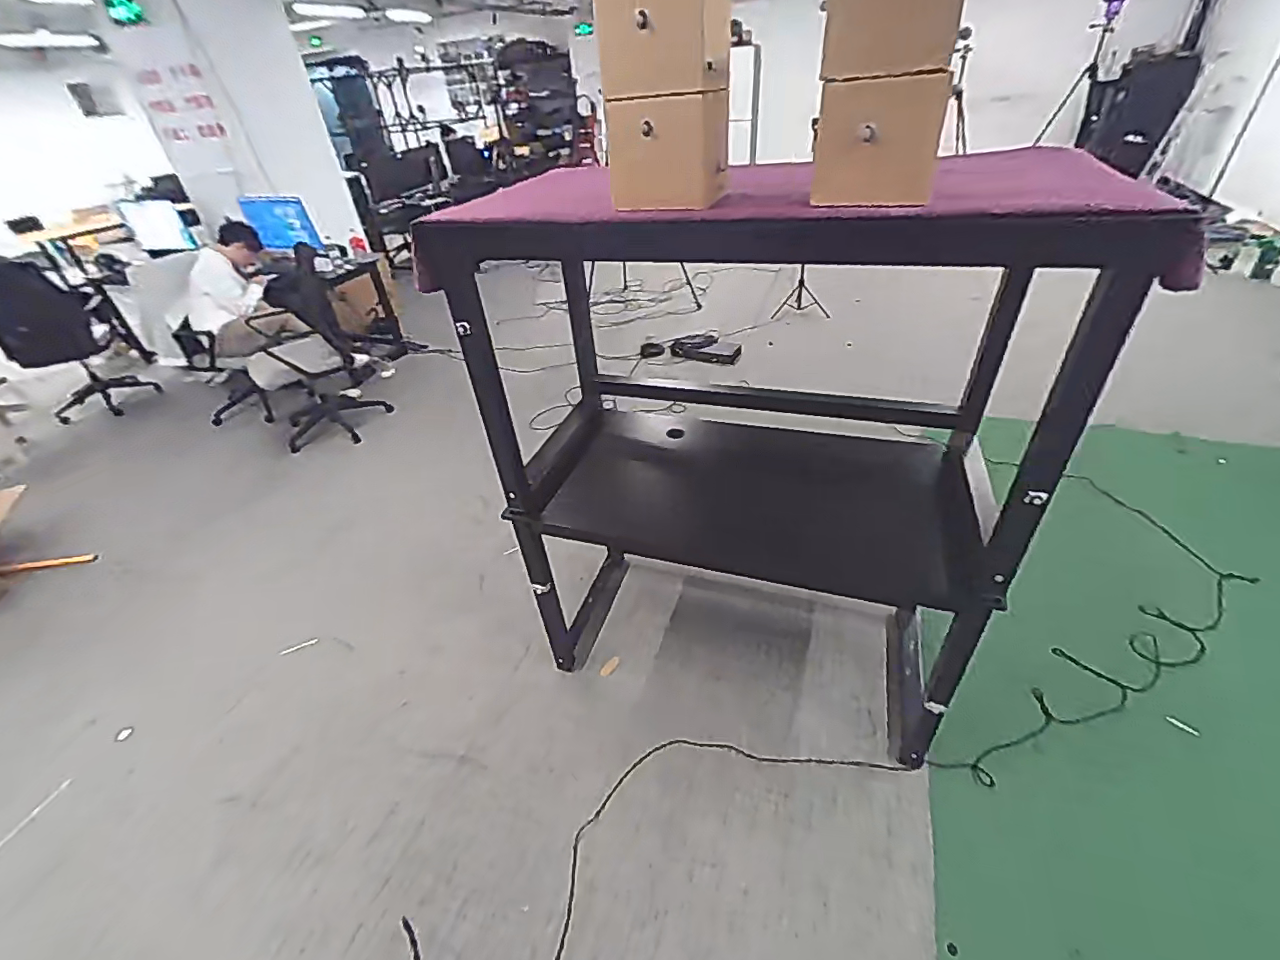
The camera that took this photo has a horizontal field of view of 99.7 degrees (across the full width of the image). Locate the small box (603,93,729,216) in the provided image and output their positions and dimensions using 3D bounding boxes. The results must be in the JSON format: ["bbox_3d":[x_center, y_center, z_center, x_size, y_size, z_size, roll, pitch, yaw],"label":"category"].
[{"bbox_3d":[0.054,-0.579,0.968,0.179,0.176,0.168,9,39,21],"label":"small box"}]

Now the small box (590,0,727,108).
[{"bbox_3d":[0.039,-0.711,0.871,0.179,0.176,0.168,8,38,21],"label":"small box"}]

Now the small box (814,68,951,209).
[{"bbox_3d":[0.380,-0.539,0.860,0.179,0.176,0.168,9,39,22],"label":"small box"}]

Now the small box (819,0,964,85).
[{"bbox_3d":[0.360,-0.672,0.766,0.179,0.176,0.168,11,40,23],"label":"small box"}]
